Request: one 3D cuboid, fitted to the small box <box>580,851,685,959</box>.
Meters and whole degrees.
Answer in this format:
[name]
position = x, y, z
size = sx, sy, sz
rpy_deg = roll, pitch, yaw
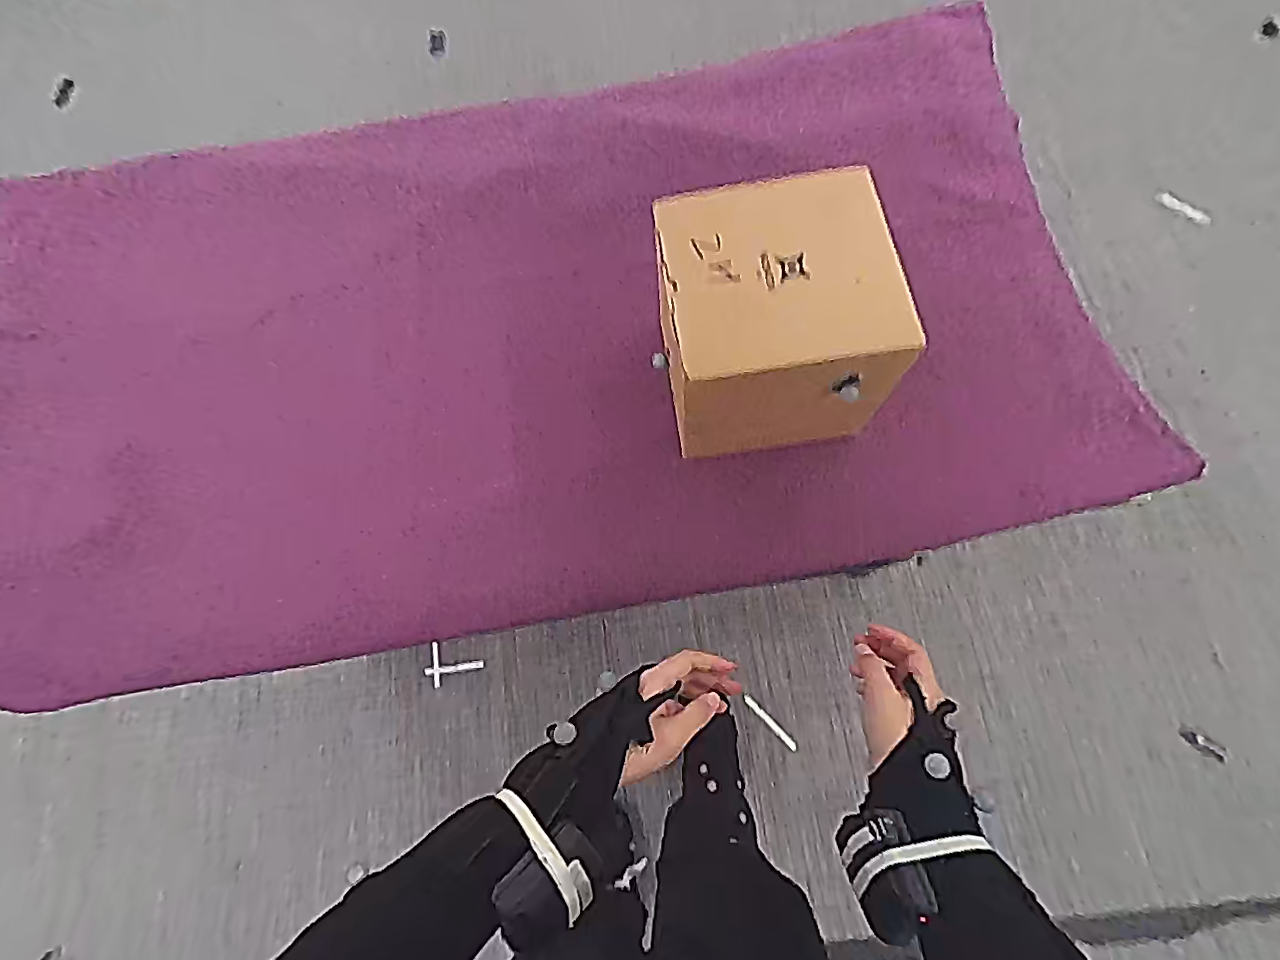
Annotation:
[small box]
position = -0.015, 0.784, 0.972
size = 0.179, 0.176, 0.168
rpy_deg = 0, 68, 0
